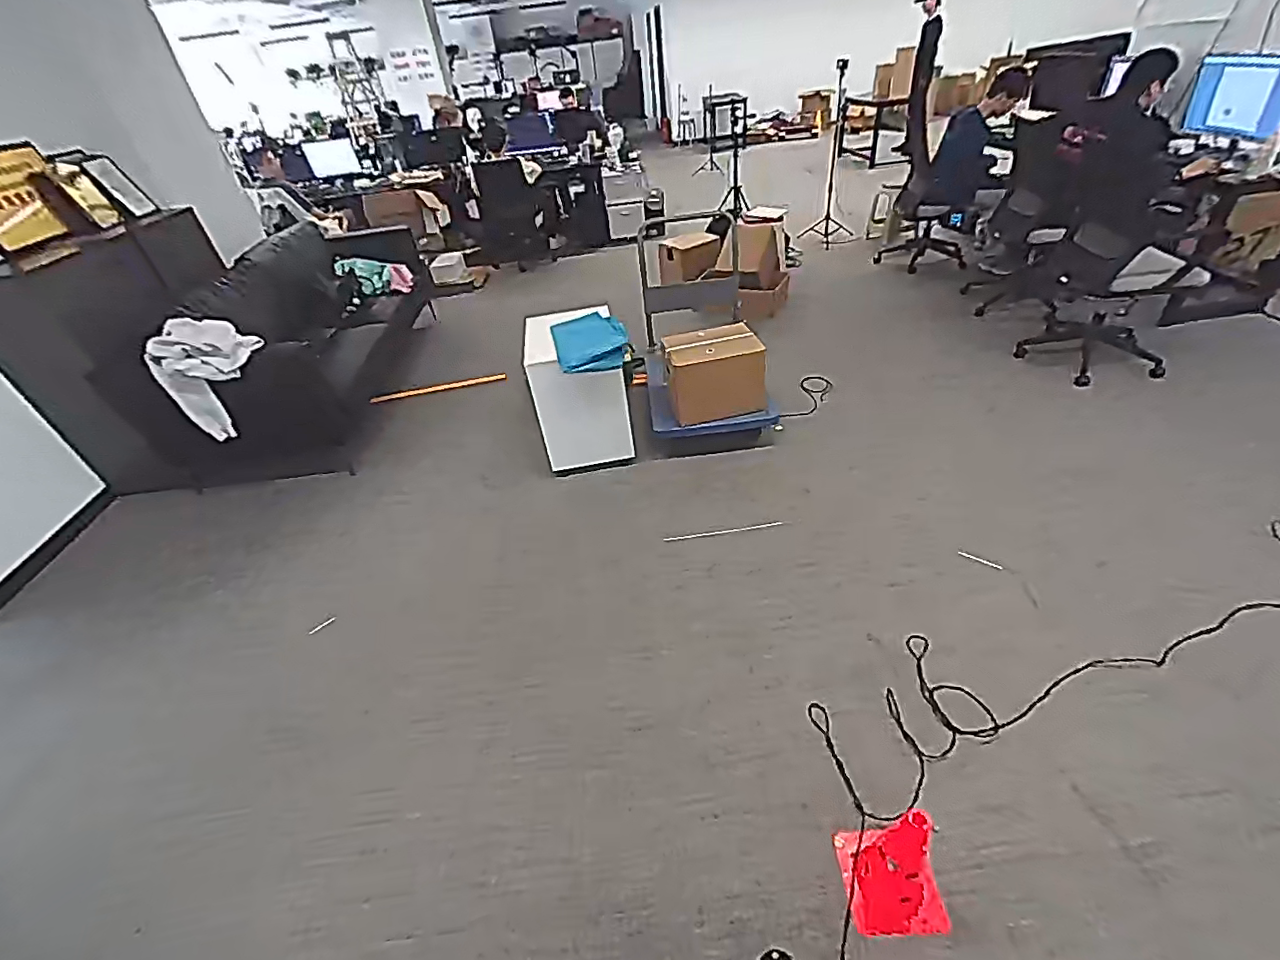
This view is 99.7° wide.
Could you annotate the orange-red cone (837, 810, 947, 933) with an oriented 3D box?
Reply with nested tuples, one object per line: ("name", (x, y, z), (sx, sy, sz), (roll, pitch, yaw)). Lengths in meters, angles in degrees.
("orange-red cone", (0.545, 0.774, 1.121), (0.198, 0.360, 0.199), (-5, 39, 5))
